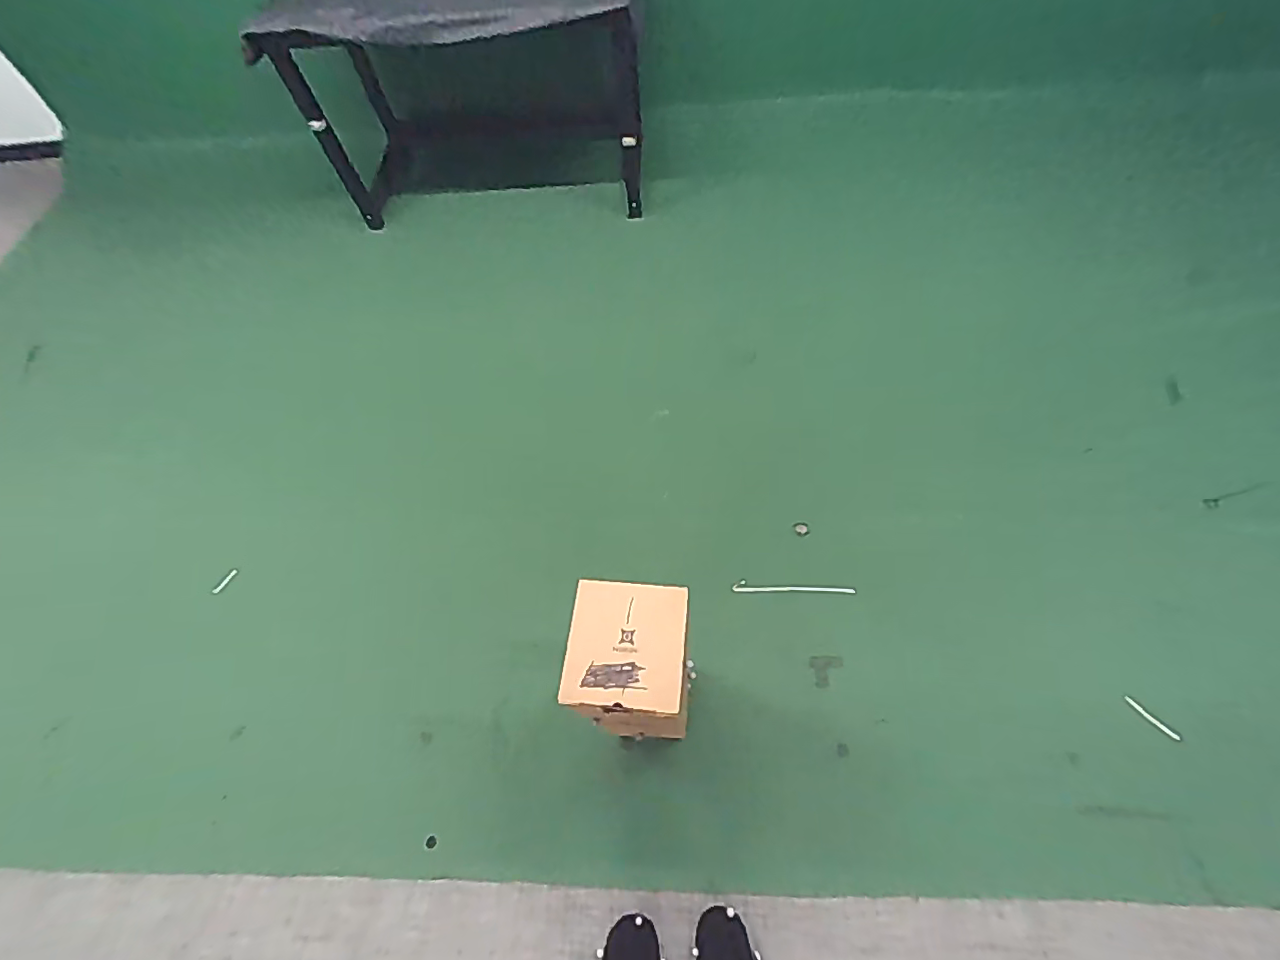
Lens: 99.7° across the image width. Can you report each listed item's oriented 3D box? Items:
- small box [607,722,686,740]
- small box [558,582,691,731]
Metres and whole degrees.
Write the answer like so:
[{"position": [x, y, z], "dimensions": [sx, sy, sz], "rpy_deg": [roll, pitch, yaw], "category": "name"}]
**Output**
[{"position": [0.023, 0.499, 1.249], "dimensions": [0.168, 0.176, 0.179], "rpy_deg": [0, 60, 5], "category": "small box"}, {"position": [-0.011, 0.270, 0.814], "dimensions": [0.168, 0.176, 0.179], "rpy_deg": [4, 60, 8], "category": "small box"}]
